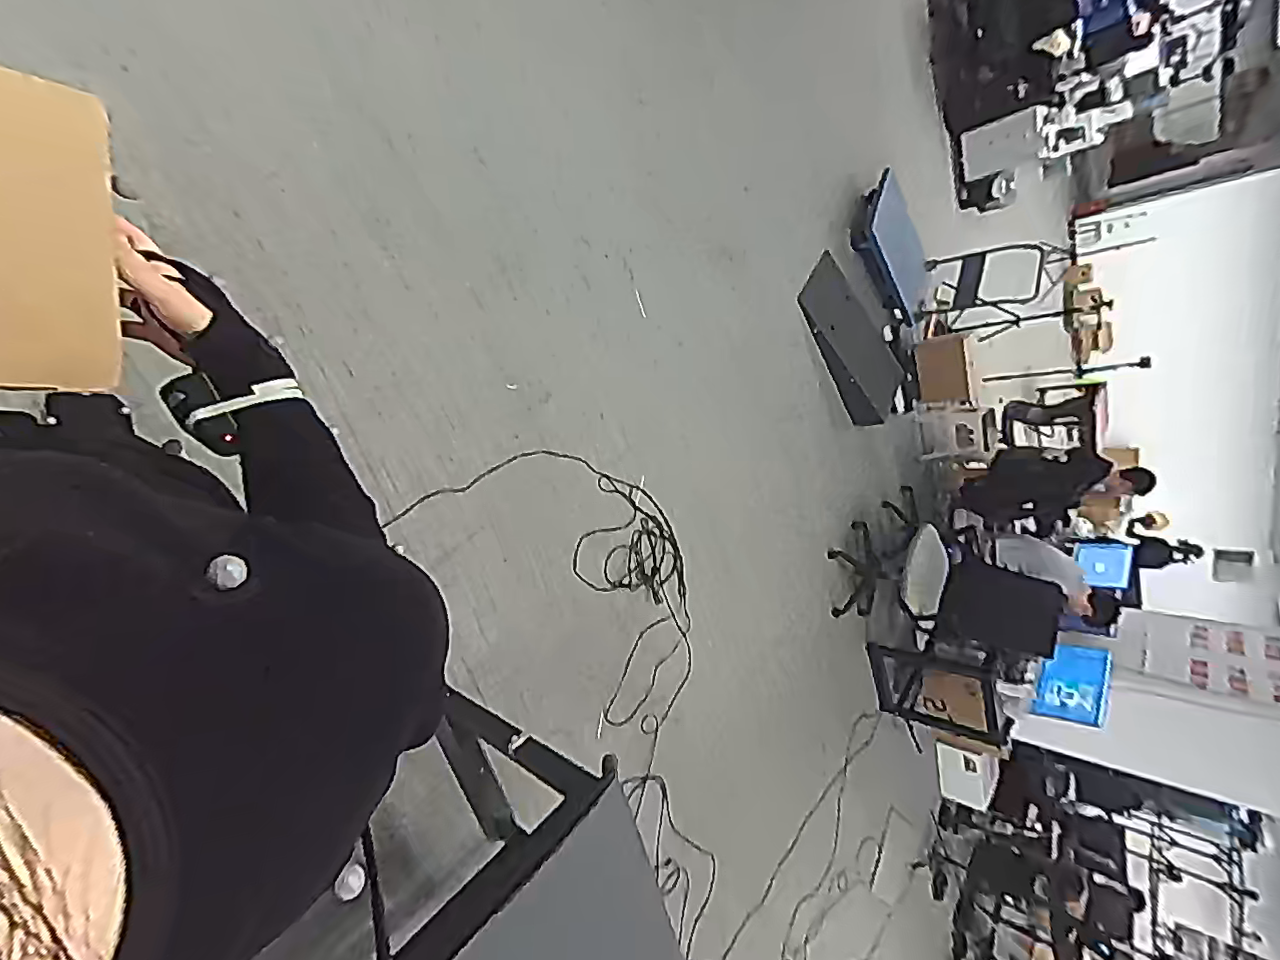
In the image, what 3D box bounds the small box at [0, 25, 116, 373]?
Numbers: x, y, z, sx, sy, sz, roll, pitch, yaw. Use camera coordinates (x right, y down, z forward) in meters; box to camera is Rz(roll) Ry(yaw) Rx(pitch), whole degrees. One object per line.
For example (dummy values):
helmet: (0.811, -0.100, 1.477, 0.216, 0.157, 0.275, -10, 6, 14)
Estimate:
small box: (-0.426, -0.171, 0.306, 0.168, 0.176, 0.179, -7, 117, -48)
